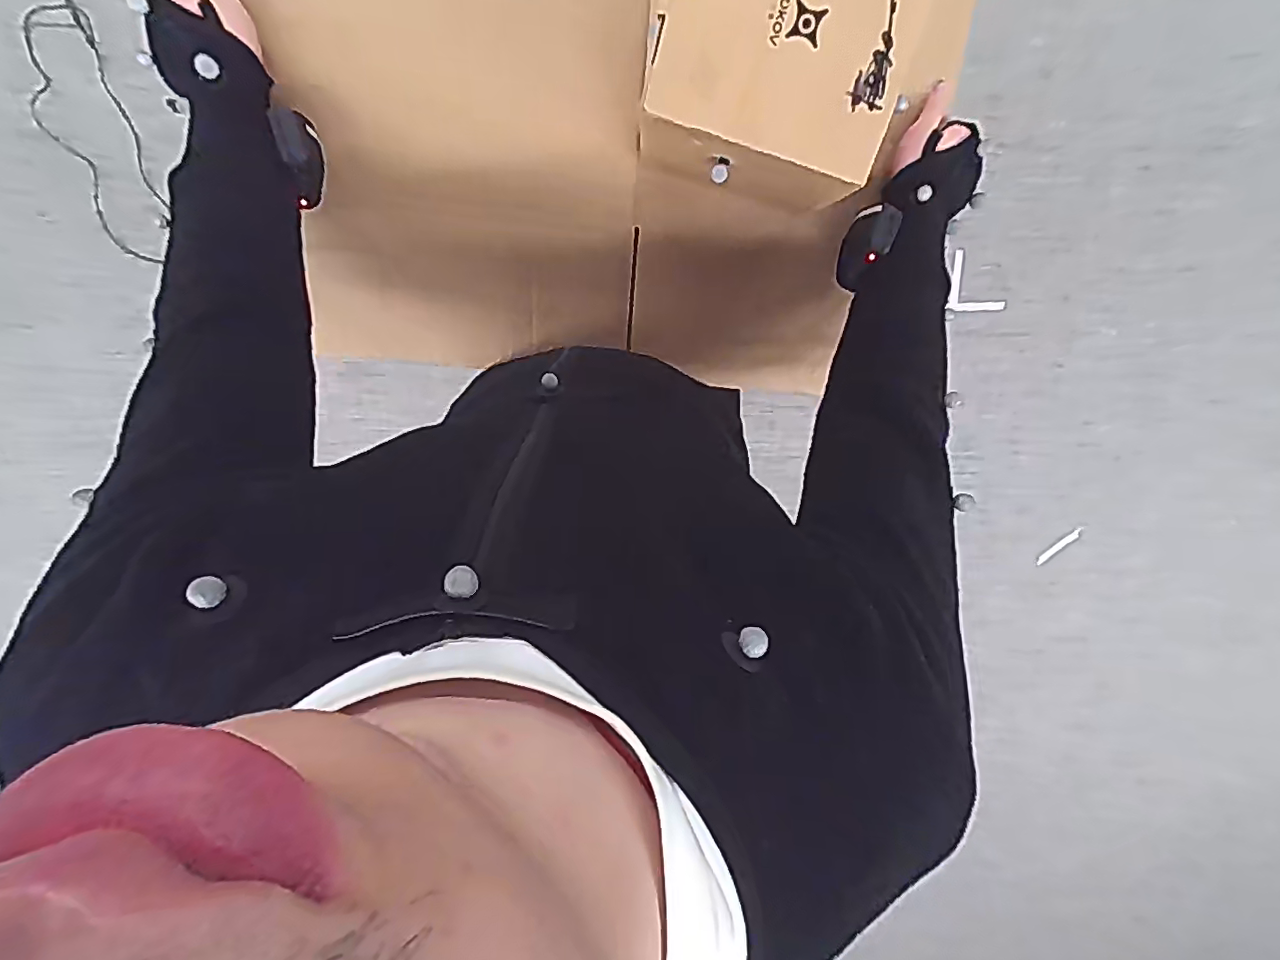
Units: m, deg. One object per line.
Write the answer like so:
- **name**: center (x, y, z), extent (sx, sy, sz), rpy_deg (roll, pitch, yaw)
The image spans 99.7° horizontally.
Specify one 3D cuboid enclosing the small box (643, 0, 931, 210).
- **small box**: center (0.111, -0.345, 0.453), extent (0.179, 0.176, 0.168), rpy_deg (17, 108, -3)
